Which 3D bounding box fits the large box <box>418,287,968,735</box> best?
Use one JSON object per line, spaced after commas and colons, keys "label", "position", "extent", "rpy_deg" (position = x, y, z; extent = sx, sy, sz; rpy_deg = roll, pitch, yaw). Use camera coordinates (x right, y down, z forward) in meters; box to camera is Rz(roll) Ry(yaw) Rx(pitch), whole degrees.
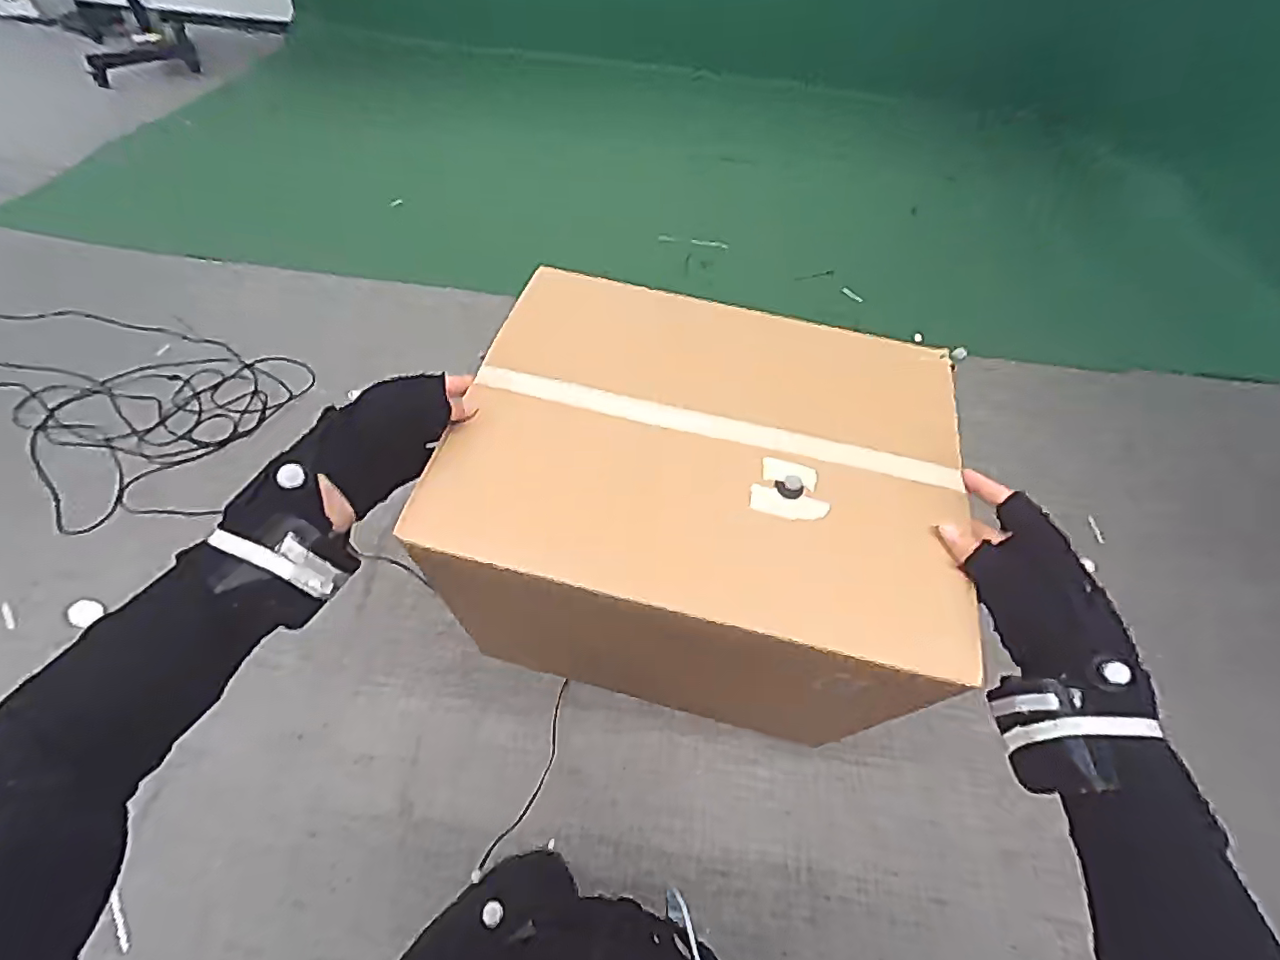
{"label": "large box", "position": [0.052, 0.046, 0.582], "extent": [0.408, 0.320, 0.320], "rpy_deg": [13, 58, 5]}
